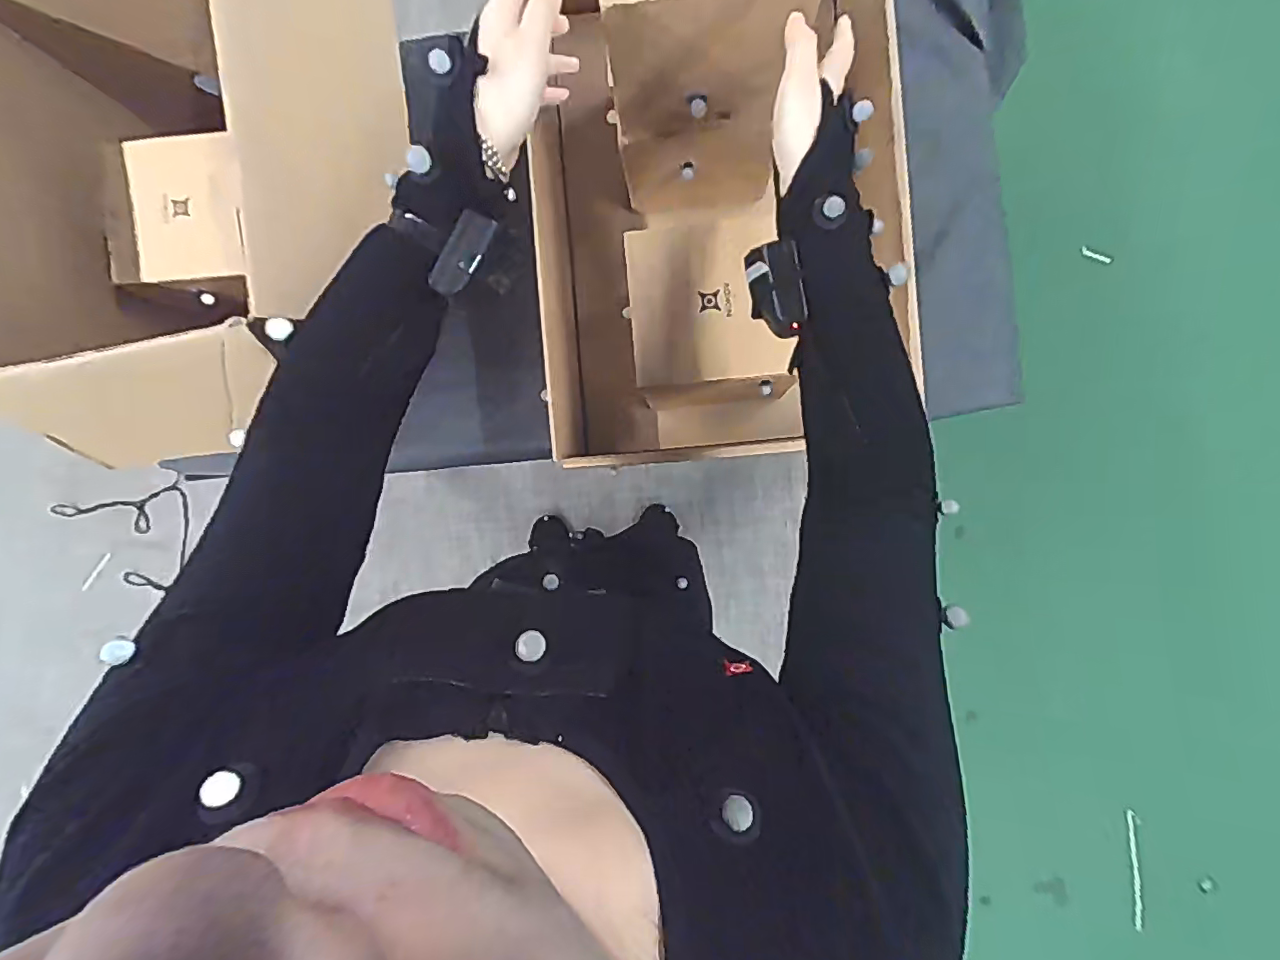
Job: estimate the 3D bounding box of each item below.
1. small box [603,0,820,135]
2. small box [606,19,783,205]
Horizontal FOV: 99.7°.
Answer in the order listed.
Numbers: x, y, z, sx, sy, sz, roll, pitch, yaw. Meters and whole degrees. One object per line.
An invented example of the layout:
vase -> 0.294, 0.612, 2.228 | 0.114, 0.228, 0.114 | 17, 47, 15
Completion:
small box -> 0.053, -0.442, 0.470 | 0.168, 0.176, 0.179 | -3, 94, 4
small box -> 0.063, -0.445, 0.635 | 0.179, 0.176, 0.168 | -4, 94, 5
